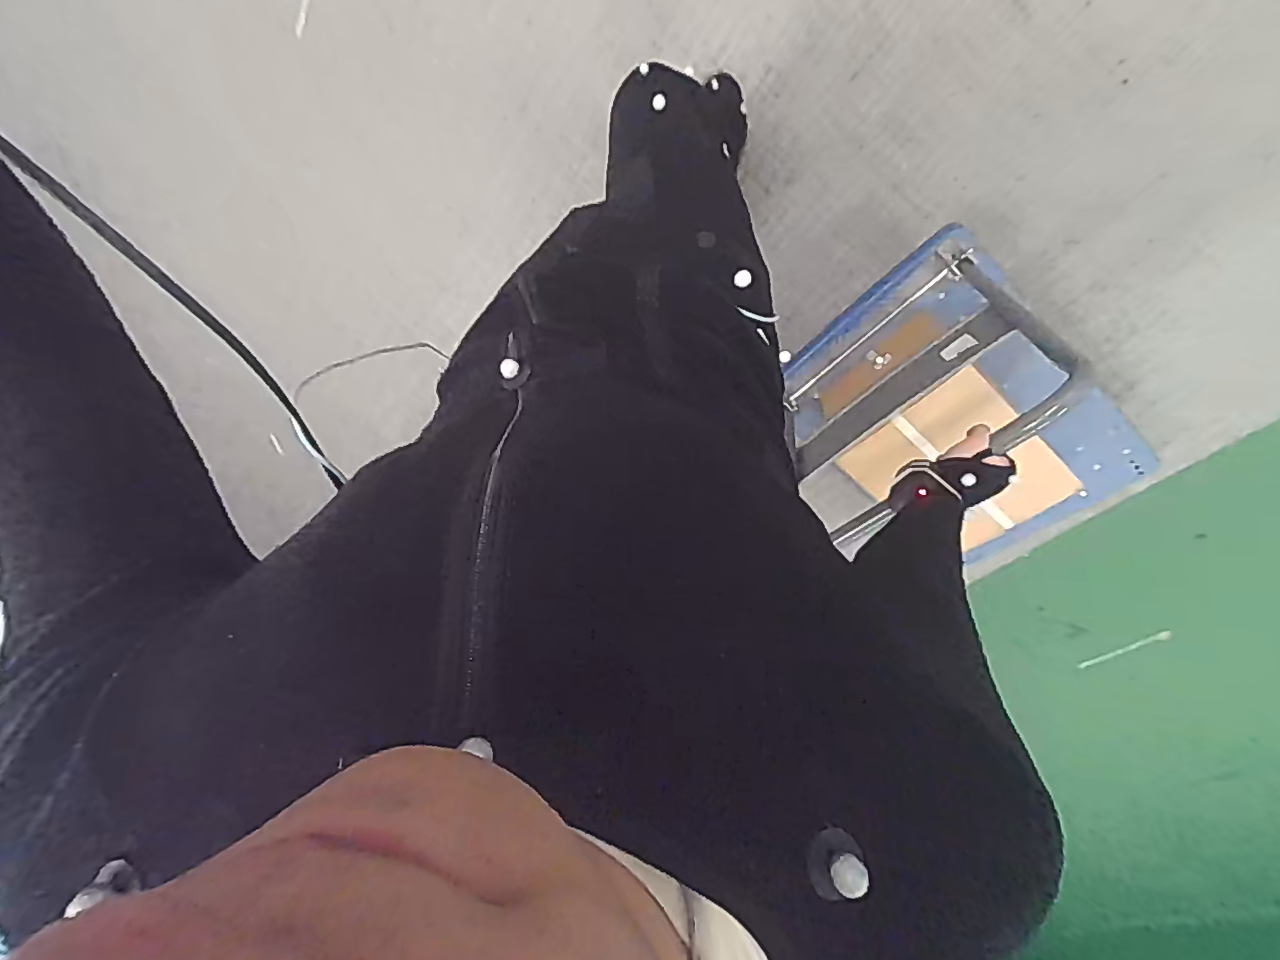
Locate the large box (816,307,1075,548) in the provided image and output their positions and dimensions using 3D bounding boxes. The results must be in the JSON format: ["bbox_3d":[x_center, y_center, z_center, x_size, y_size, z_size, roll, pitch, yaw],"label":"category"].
[{"bbox_3d":[0.677,-0.123,1.263,0.408,0.320,0.320,37,125,-17],"label":"large box"}]
